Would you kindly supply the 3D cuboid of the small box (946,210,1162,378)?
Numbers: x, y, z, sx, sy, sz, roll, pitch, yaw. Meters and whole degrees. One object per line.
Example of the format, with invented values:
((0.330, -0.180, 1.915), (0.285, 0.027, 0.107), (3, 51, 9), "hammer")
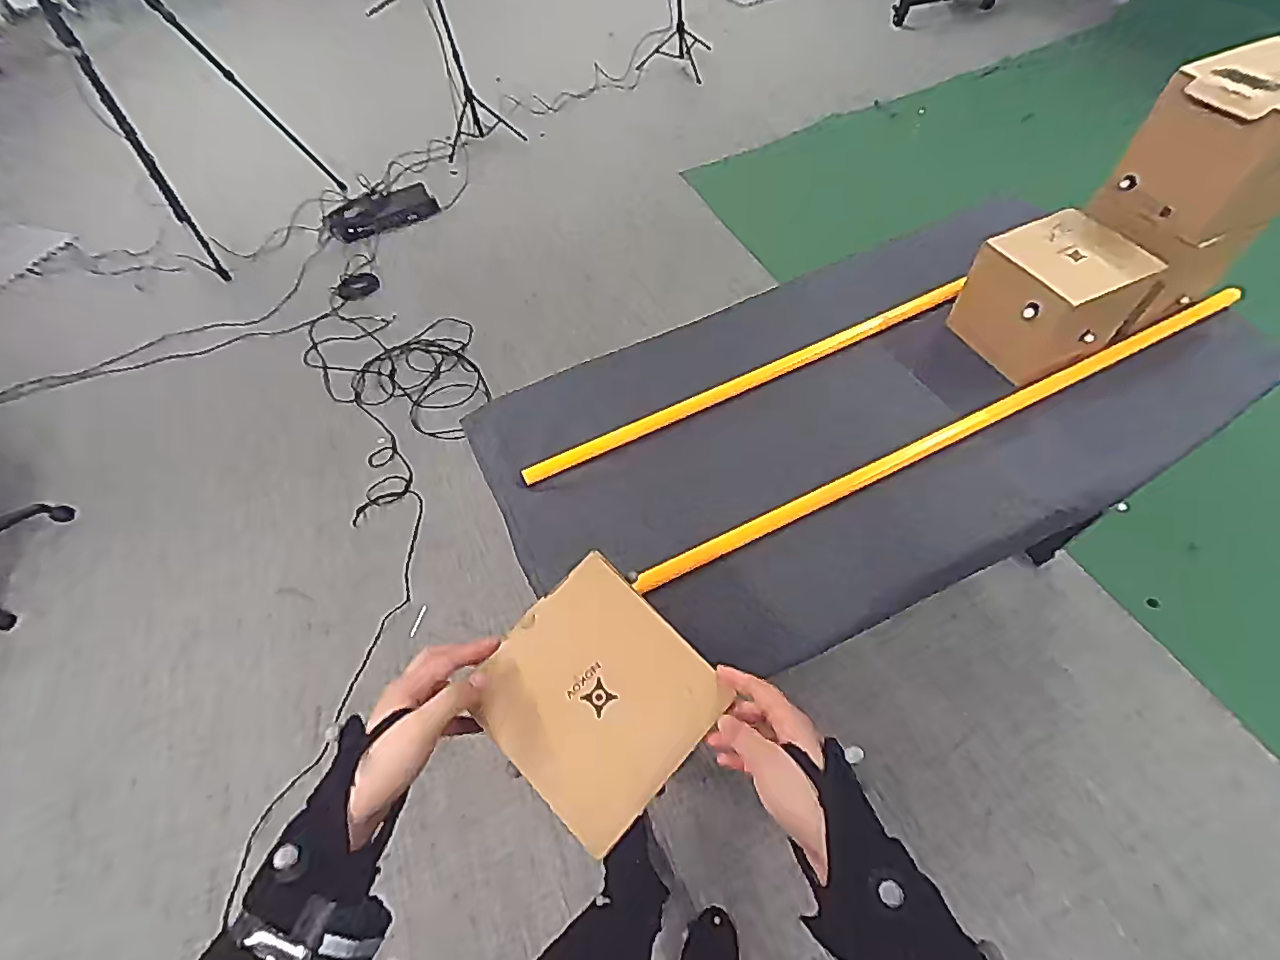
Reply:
((0.637, -0.285, 0.861), (0.168, 0.176, 0.179), (-22, 57, -8), "small box")

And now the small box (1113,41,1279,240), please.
((0.826, -0.468, 0.758), (0.179, 0.176, 0.168), (-21, 58, -7), "small box")

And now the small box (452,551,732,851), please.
((-0.040, 0.198, 0.521), (0.179, 0.176, 0.168), (43, 75, 13), "small box")
